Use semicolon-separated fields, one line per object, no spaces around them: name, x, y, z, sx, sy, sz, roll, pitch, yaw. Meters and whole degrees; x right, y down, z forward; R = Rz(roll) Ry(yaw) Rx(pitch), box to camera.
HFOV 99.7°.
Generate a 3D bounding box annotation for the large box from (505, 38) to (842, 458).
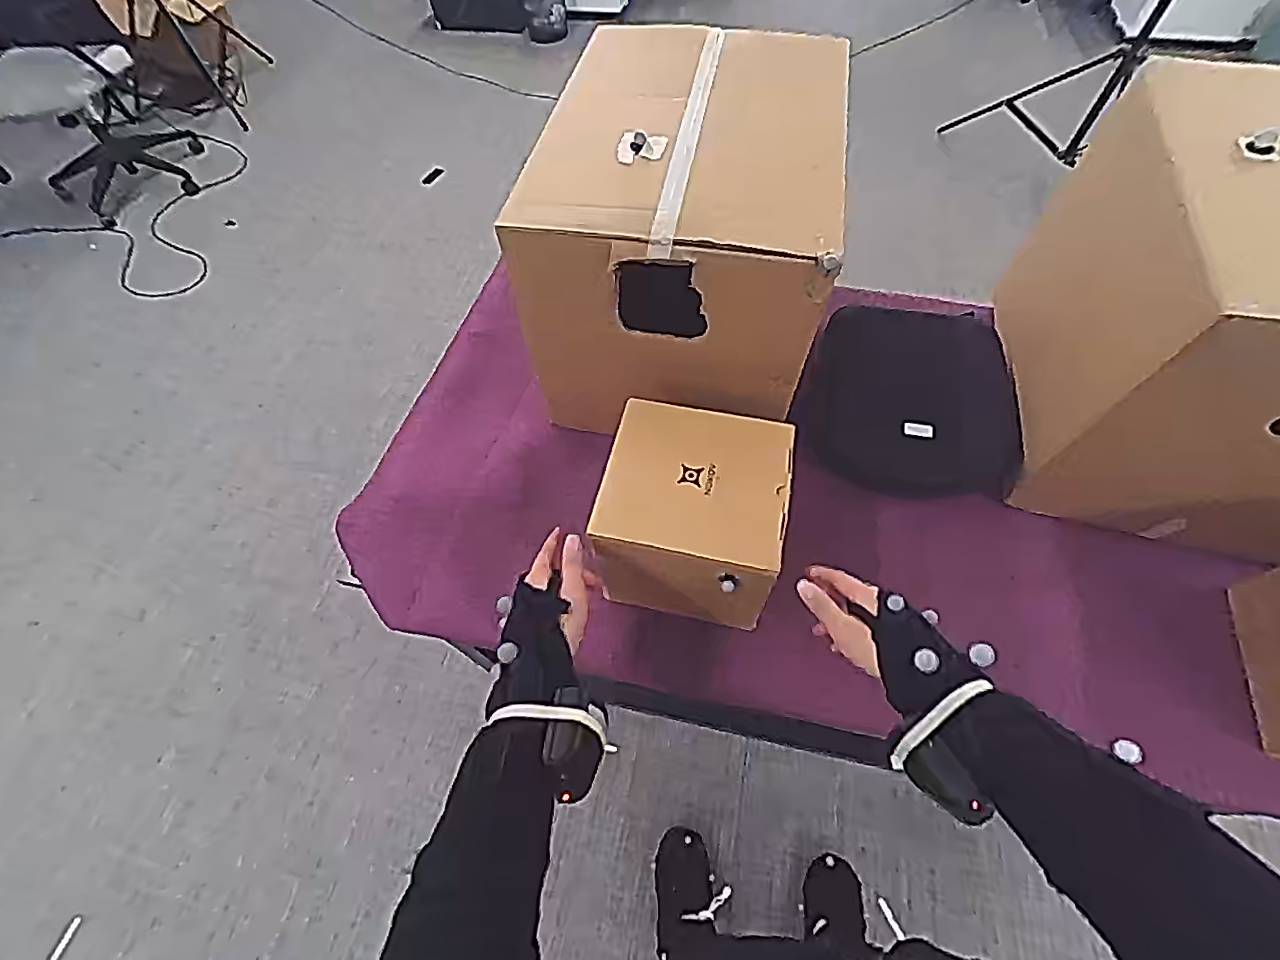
large box;0.060;-0.292;0.705;0.320;0.320;0.408;8;62;8
